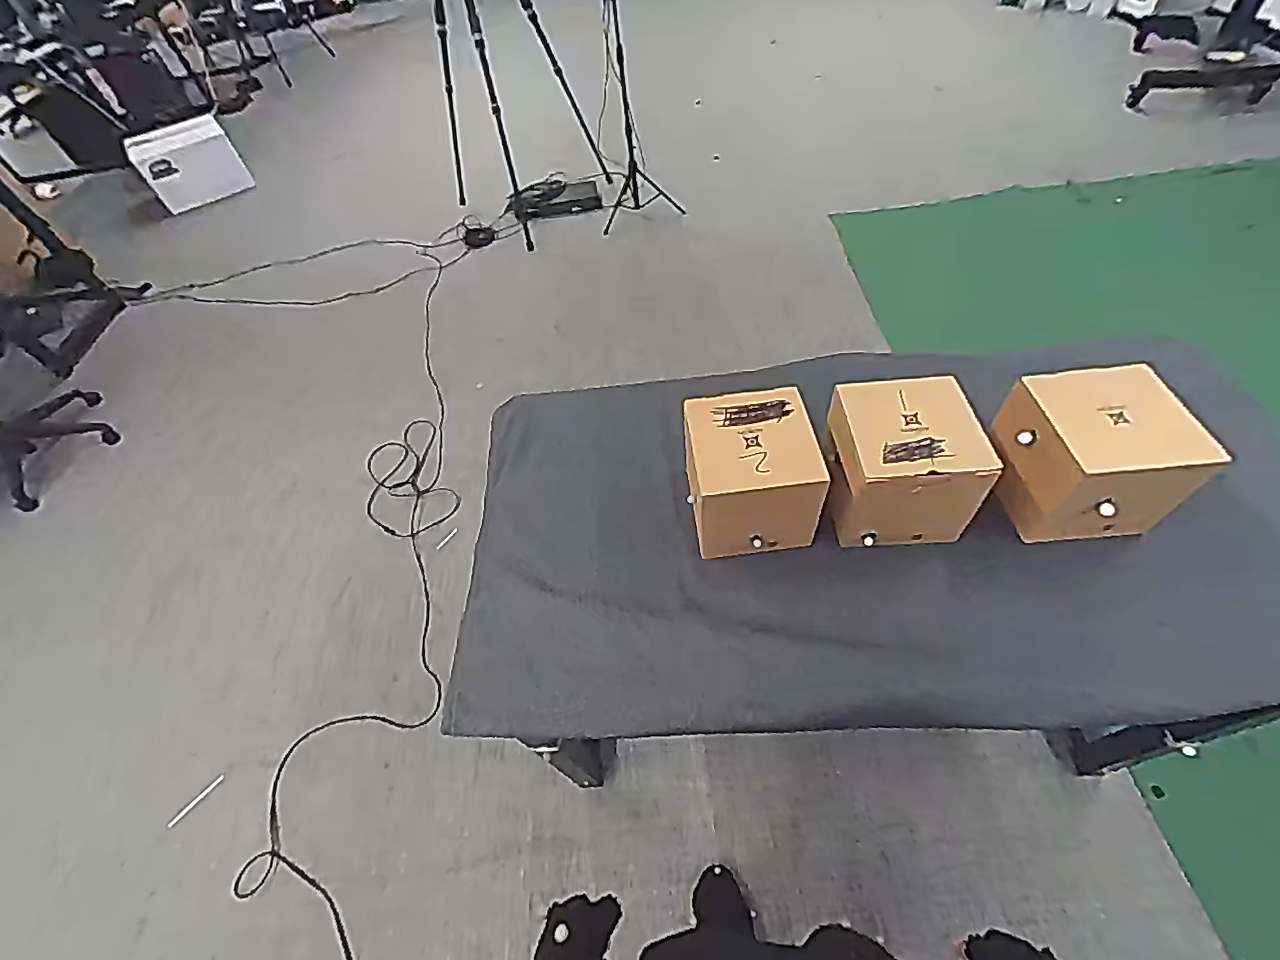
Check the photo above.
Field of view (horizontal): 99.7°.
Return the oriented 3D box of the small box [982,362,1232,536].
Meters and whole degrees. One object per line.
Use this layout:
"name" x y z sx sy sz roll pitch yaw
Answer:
"small box" 0.615 -0.034 0.745 0.168 0.176 0.179 -5 52 4
